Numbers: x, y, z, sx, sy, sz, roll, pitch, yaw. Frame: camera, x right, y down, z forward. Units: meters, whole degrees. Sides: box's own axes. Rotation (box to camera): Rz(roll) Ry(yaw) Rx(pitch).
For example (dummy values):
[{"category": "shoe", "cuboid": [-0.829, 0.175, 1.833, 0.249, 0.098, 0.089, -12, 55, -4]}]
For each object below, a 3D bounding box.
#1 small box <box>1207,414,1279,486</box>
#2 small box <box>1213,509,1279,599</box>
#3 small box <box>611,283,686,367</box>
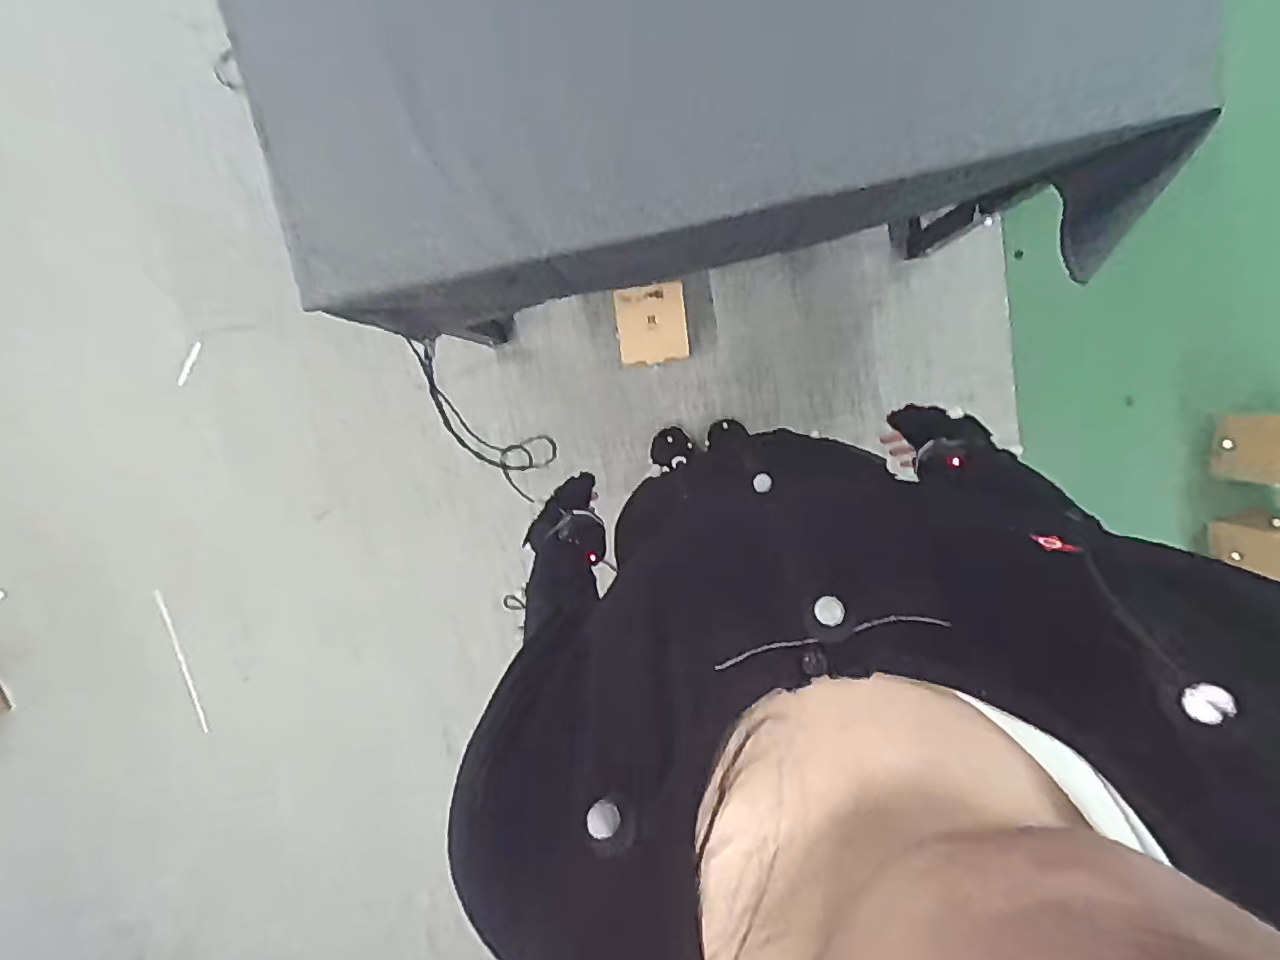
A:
[{"category": "small box", "cuboid": [1.560, -0.075, 1.313, 0.179, 0.176, 0.168, 1, 97, 4]}, {"category": "small box", "cuboid": [1.590, 0.180, 1.346, 0.179, 0.176, 0.168, -12, 97, 4]}, {"category": "small box", "cuboid": [0.027, -0.377, 1.348, 0.168, 0.176, 0.179, -6, 98, 5]}]
